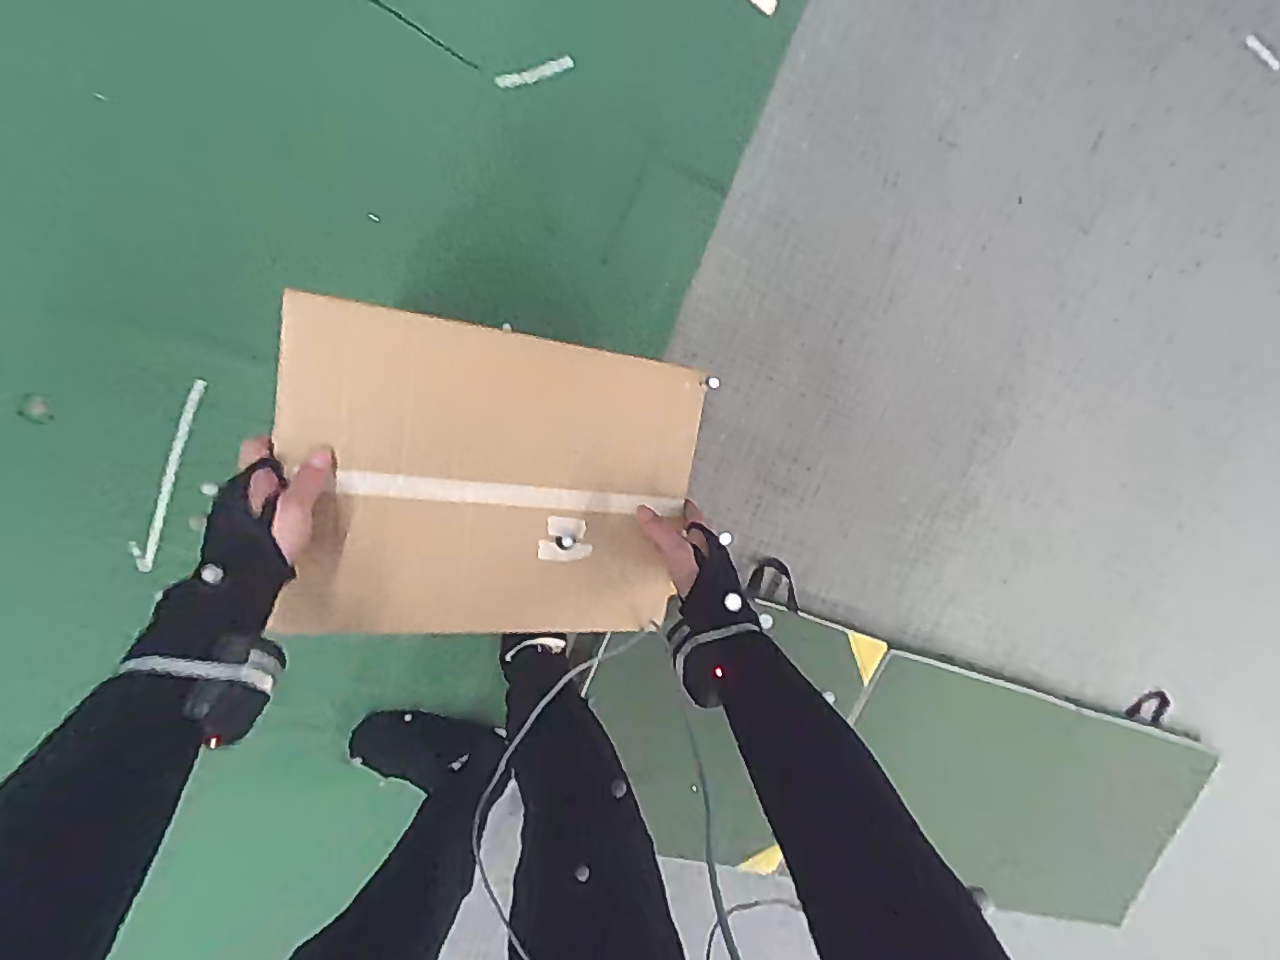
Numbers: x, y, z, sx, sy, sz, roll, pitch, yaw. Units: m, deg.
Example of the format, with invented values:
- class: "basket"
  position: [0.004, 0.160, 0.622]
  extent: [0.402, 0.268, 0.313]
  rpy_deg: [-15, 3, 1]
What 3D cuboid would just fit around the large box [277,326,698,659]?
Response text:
- class: "large box"
  position: [-0.192, 0.001, 0.688]
  extent: [0.408, 0.320, 0.320]
  rpy_deg: [5, 101, -23]
